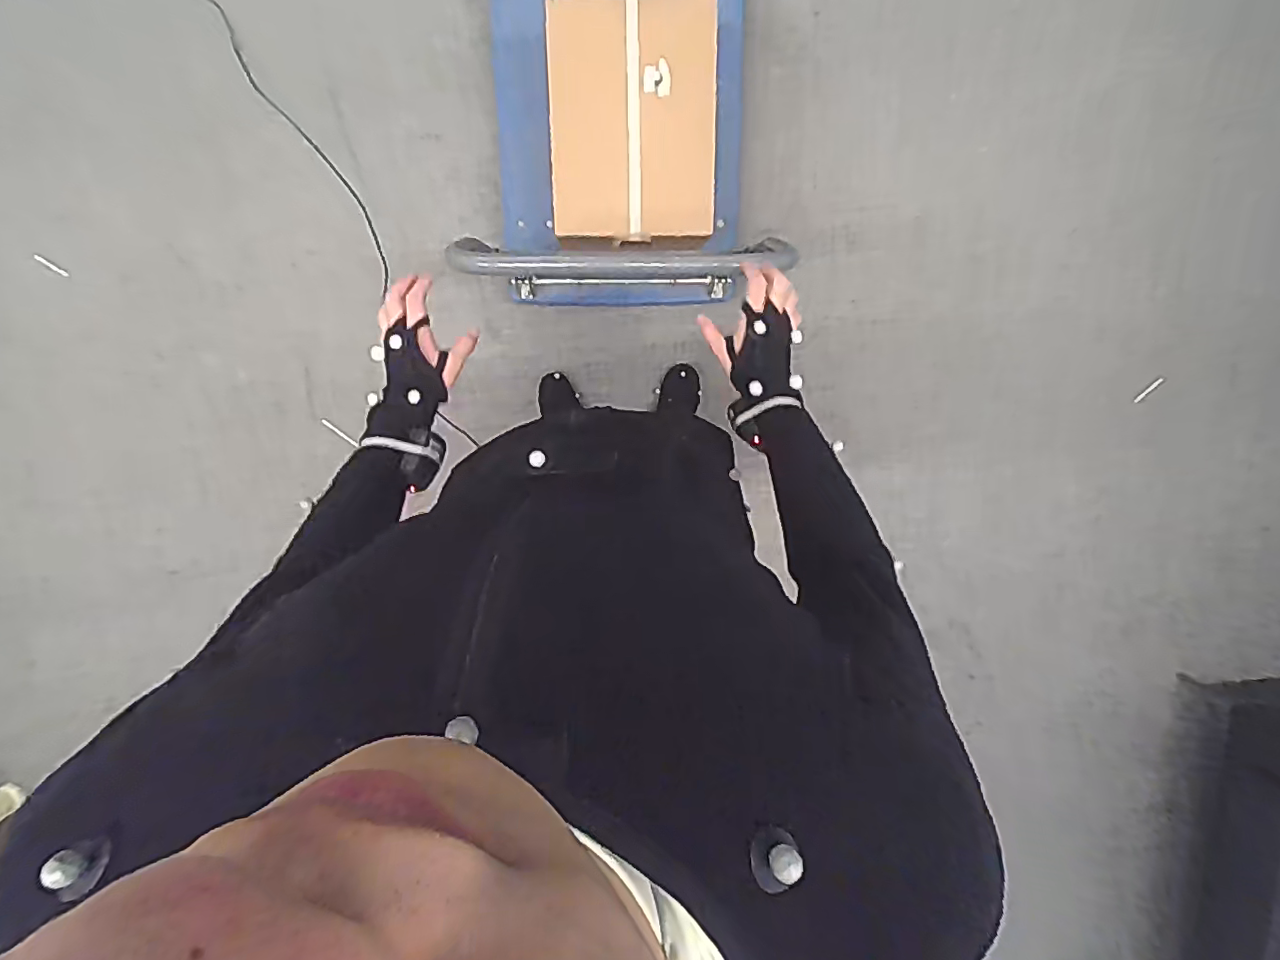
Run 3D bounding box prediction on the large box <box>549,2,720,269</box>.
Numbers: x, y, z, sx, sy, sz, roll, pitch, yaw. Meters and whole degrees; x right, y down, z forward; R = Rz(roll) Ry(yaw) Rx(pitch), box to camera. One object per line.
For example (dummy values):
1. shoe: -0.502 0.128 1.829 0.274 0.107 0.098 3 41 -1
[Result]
1. large box: -0.007 -0.690 1.154 0.320 0.320 0.408 -1 102 -2
